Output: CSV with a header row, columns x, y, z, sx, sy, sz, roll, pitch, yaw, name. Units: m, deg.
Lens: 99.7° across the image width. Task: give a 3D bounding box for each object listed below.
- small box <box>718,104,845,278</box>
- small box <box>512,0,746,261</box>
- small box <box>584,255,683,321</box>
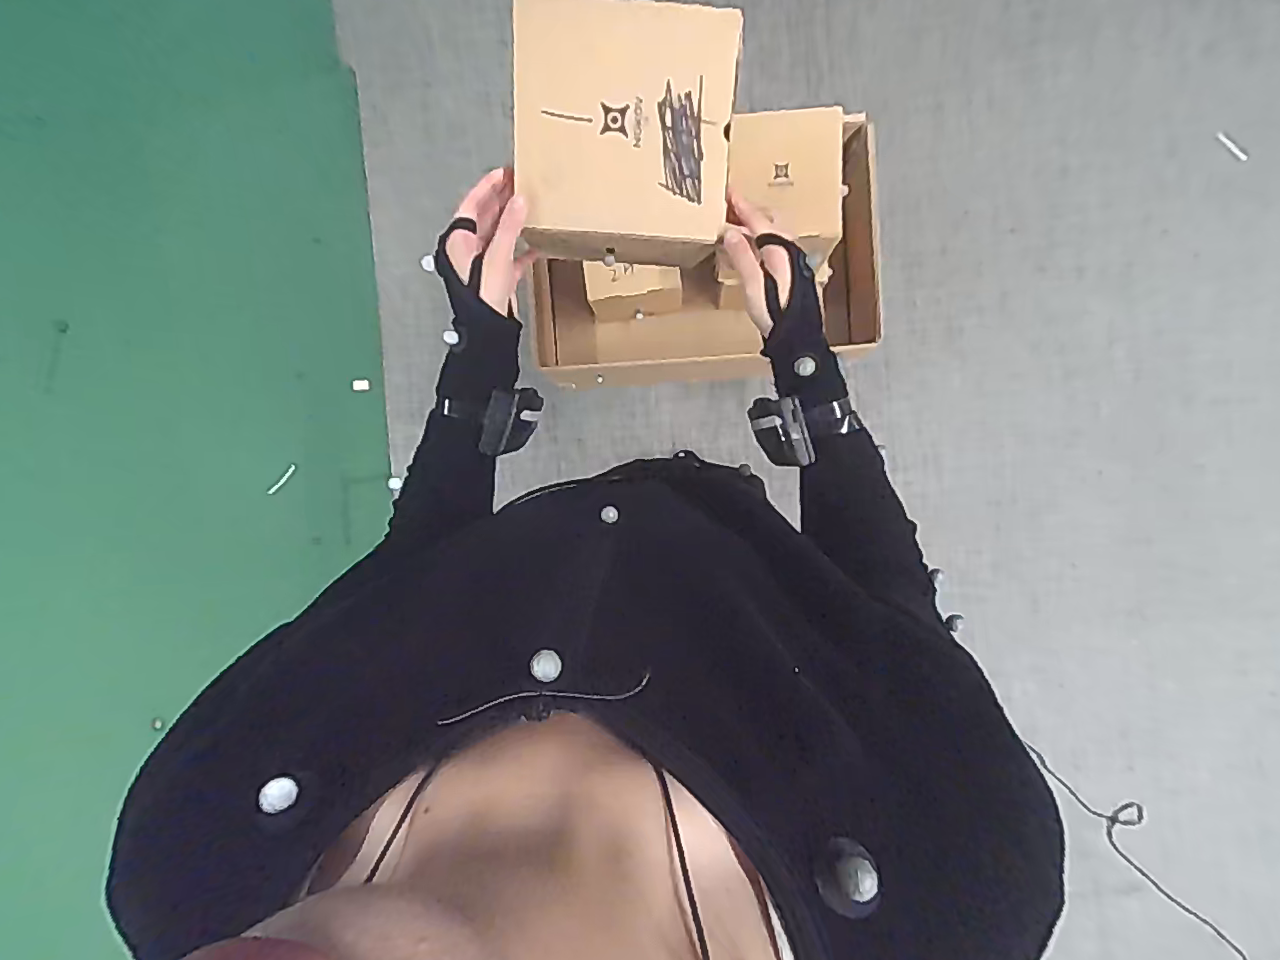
x,y,z,sx,sy,sz,roll,pitch,yaw,name
0.204,-0.424,0.820,0.168,0.176,0.179,-1,92,6,small box
-0.016,-0.303,0.498,0.179,0.176,0.168,3,104,-4,small box
-0.013,-0.410,0.999,0.168,0.176,0.179,-7,92,5,small box
